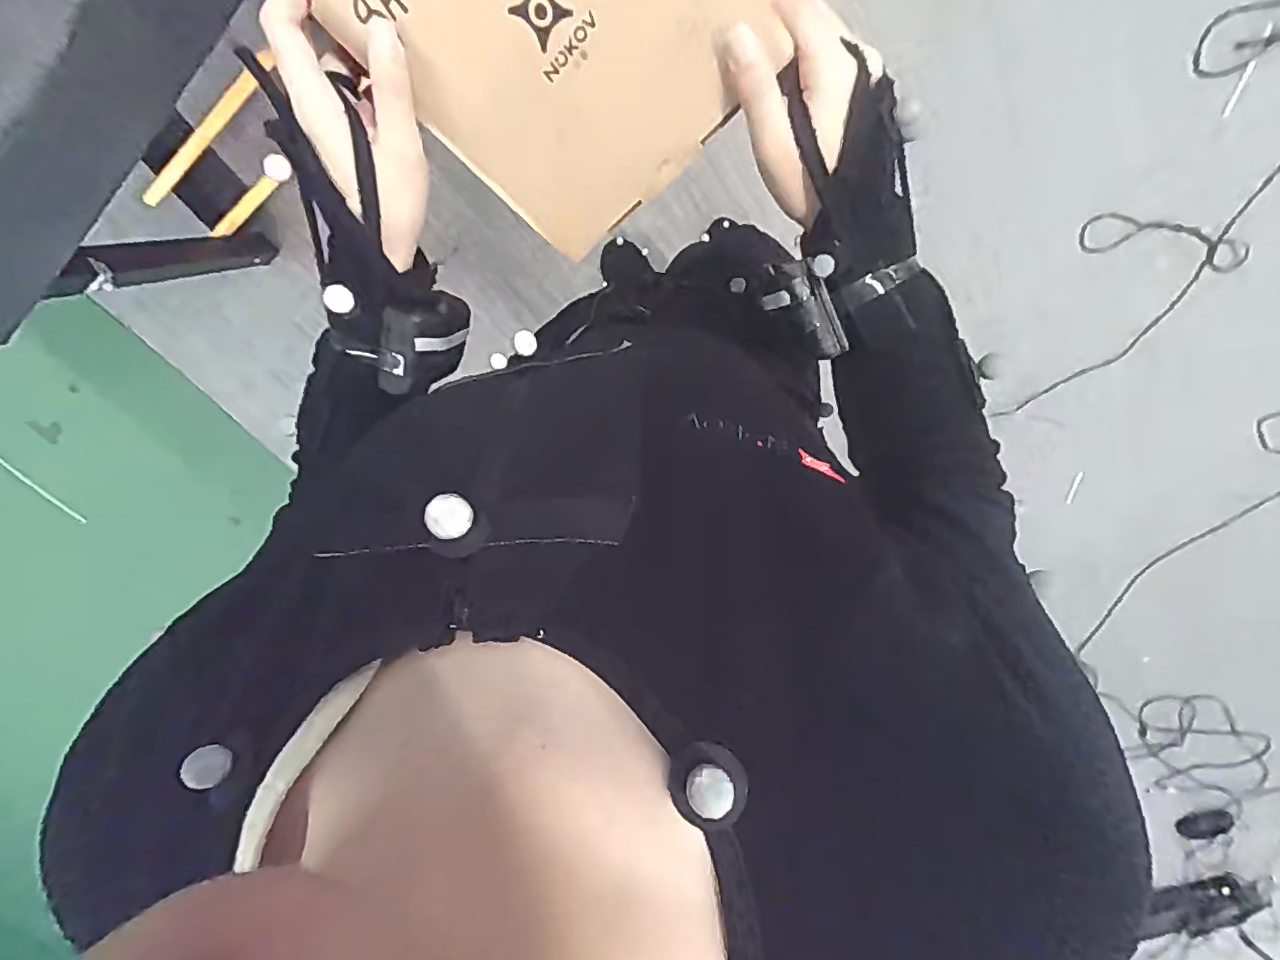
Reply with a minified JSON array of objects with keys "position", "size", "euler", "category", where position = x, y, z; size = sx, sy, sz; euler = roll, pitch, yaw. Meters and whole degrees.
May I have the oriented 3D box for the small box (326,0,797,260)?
[{"position":[-0.032,-0.278,0.316],"size":[0.168,0.176,0.179],"euler":[-30,129,33],"category":"small box"}]
